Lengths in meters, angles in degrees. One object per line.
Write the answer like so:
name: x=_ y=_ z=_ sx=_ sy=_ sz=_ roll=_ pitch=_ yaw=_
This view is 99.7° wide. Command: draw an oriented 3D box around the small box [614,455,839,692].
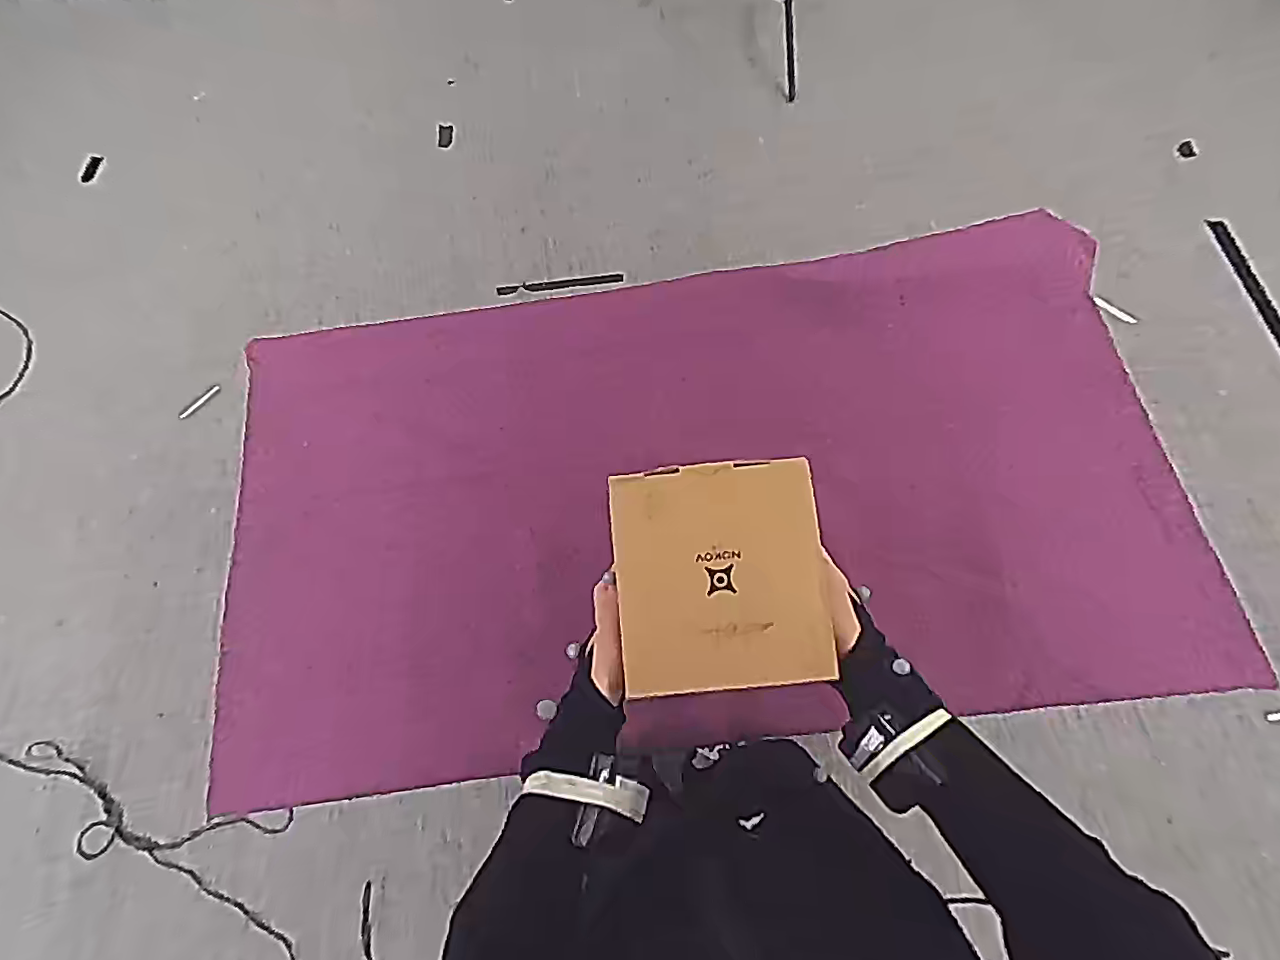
small box: x=0.068 y=0.083 z=0.508 sx=0.168 sy=0.176 sz=0.179 roll=-6 pitch=83 yaw=2
